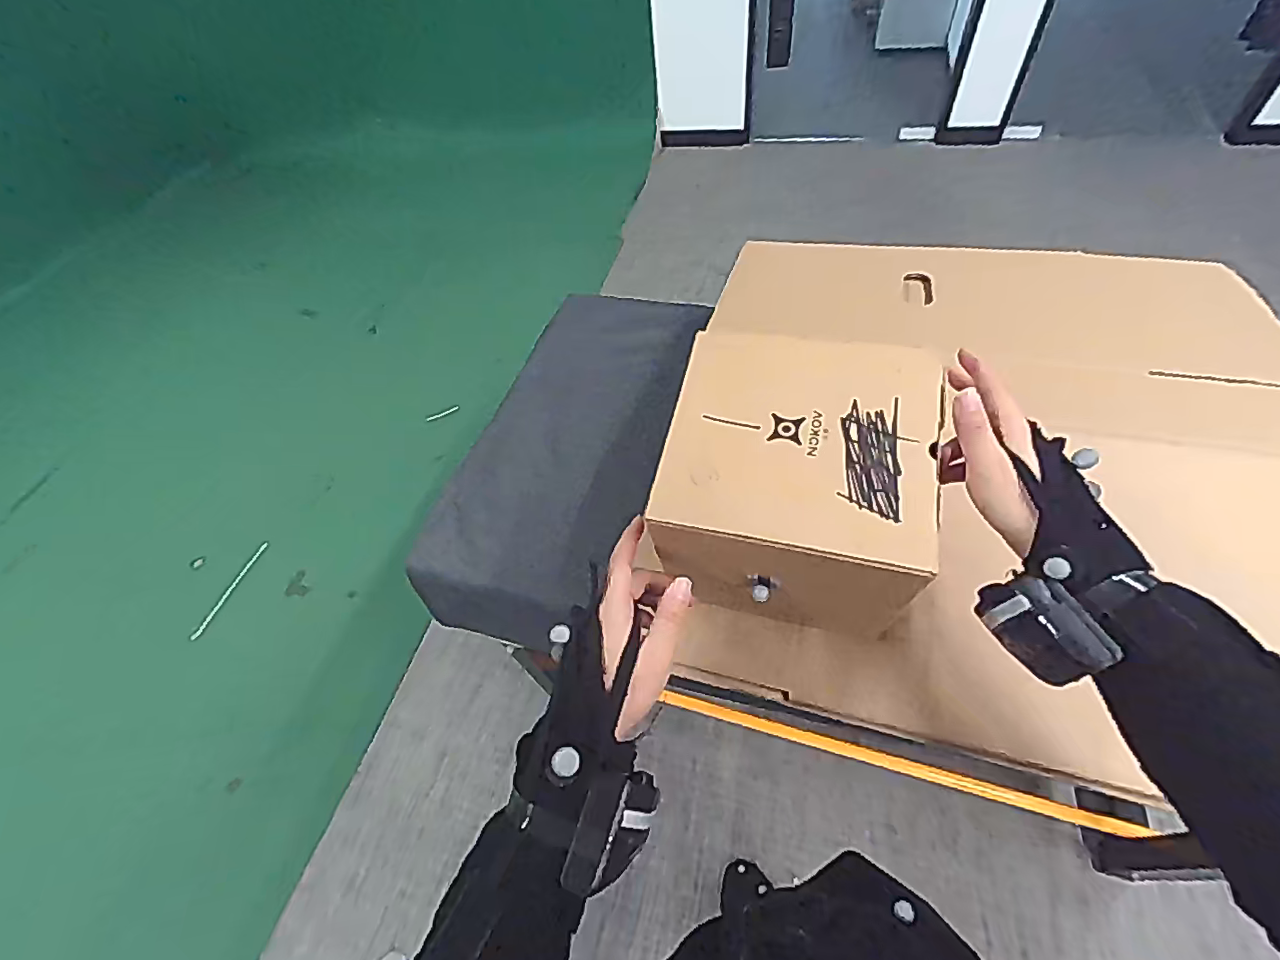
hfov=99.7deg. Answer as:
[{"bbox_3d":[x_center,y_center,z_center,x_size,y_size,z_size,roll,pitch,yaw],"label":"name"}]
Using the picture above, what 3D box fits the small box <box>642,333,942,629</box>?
[{"bbox_3d":[0.118,0.009,0.434,0.179,0.176,0.168,10,64,16],"label":"small box"}]
